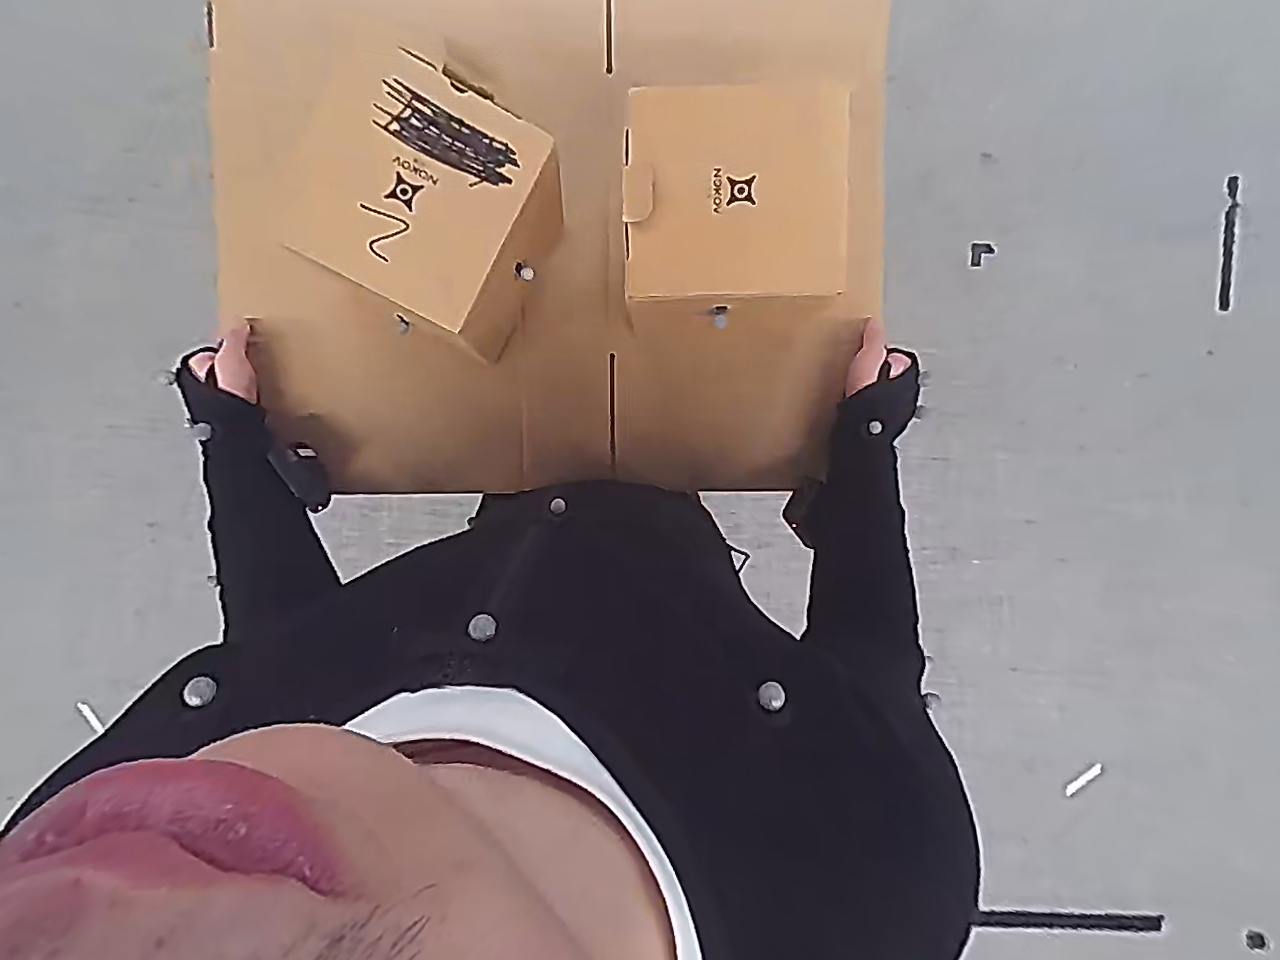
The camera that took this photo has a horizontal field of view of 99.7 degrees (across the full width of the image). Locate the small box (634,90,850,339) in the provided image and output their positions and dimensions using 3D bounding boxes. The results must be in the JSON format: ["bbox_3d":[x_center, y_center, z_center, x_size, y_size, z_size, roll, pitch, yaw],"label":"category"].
[{"bbox_3d":[0.086,-0.237,0.522,0.179,0.176,0.168,0,93,4],"label":"small box"}]
